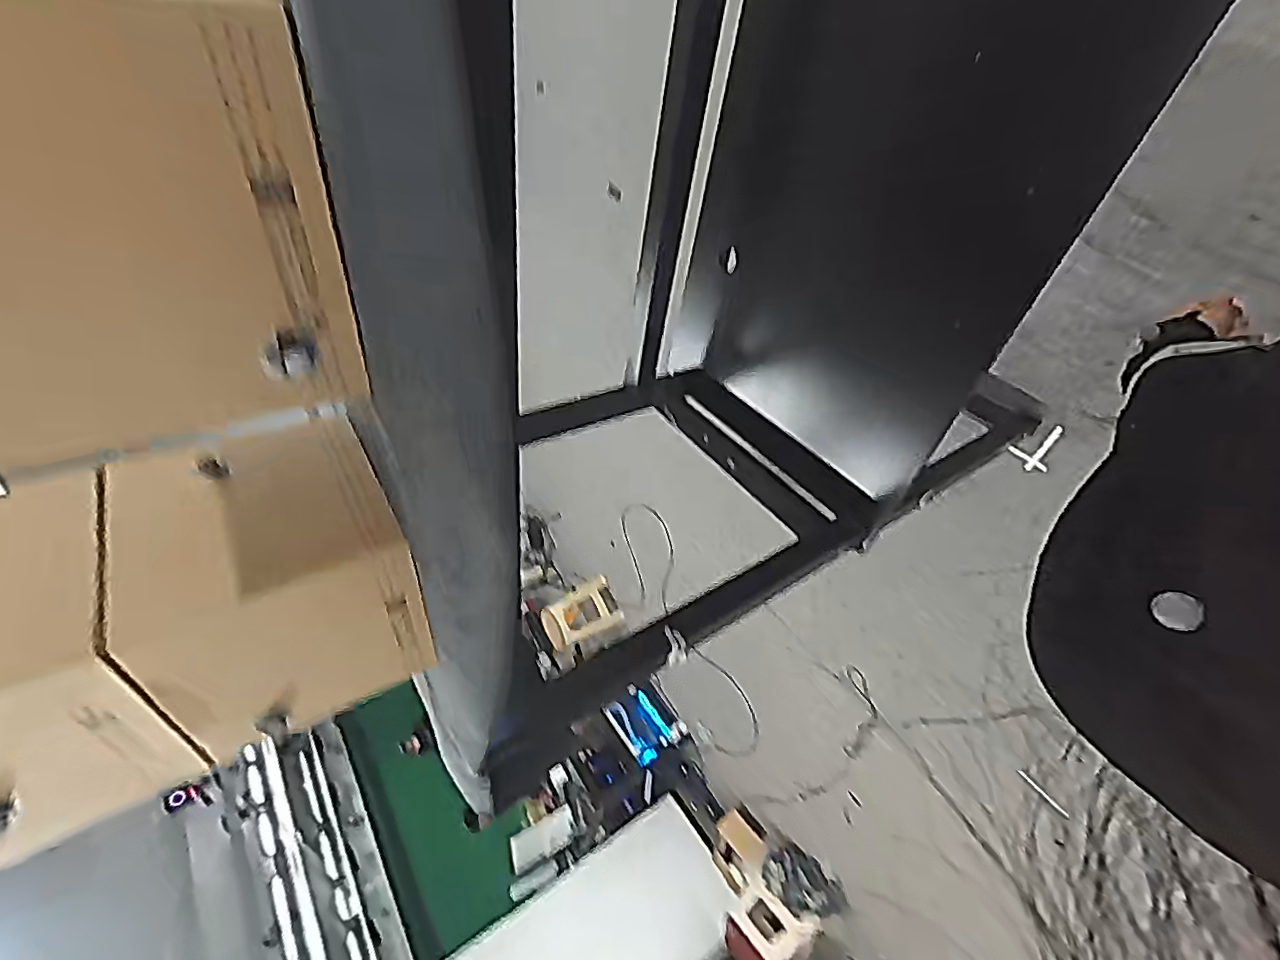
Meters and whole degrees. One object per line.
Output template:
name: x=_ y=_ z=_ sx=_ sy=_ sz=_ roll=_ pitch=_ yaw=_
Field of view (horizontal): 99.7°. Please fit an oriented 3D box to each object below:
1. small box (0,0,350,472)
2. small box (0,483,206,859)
small box: x=-0.250 y=-0.134 z=0.248 sx=0.179 sy=0.176 sz=0.168 roll=49 pitch=144 yaw=34
small box: x=-0.420 y=0.126 z=0.357 sx=0.179 sy=0.176 sz=0.168 roll=48 pitch=144 yaw=35
